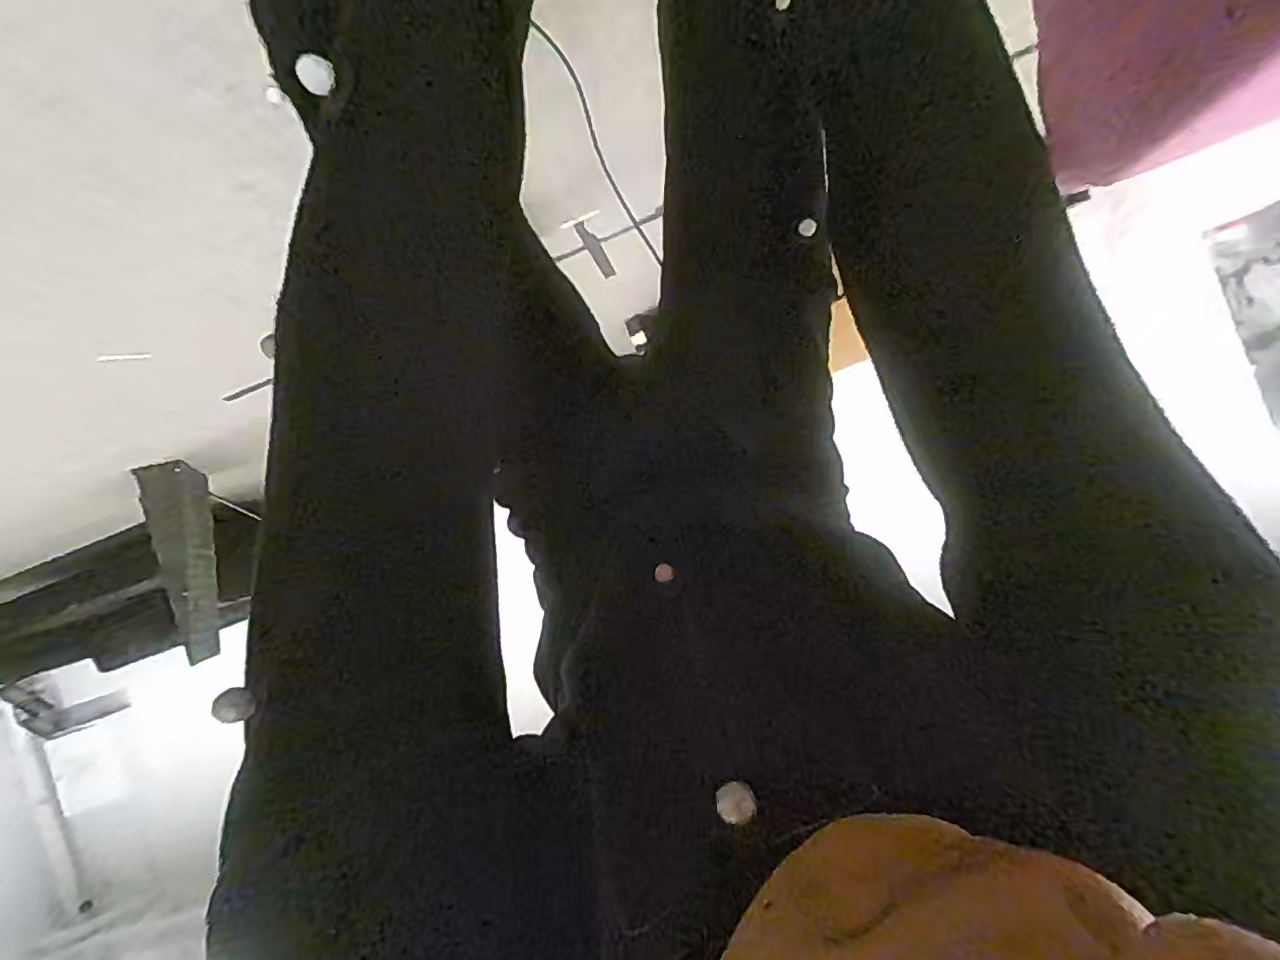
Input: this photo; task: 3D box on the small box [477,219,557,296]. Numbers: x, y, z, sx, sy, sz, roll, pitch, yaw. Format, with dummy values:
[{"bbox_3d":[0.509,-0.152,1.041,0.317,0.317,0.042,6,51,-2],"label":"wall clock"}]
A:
[{"bbox_3d":[-0.384,-0.668,1.673,0.179,0.176,0.168,-19,178,12],"label":"small box"}]
